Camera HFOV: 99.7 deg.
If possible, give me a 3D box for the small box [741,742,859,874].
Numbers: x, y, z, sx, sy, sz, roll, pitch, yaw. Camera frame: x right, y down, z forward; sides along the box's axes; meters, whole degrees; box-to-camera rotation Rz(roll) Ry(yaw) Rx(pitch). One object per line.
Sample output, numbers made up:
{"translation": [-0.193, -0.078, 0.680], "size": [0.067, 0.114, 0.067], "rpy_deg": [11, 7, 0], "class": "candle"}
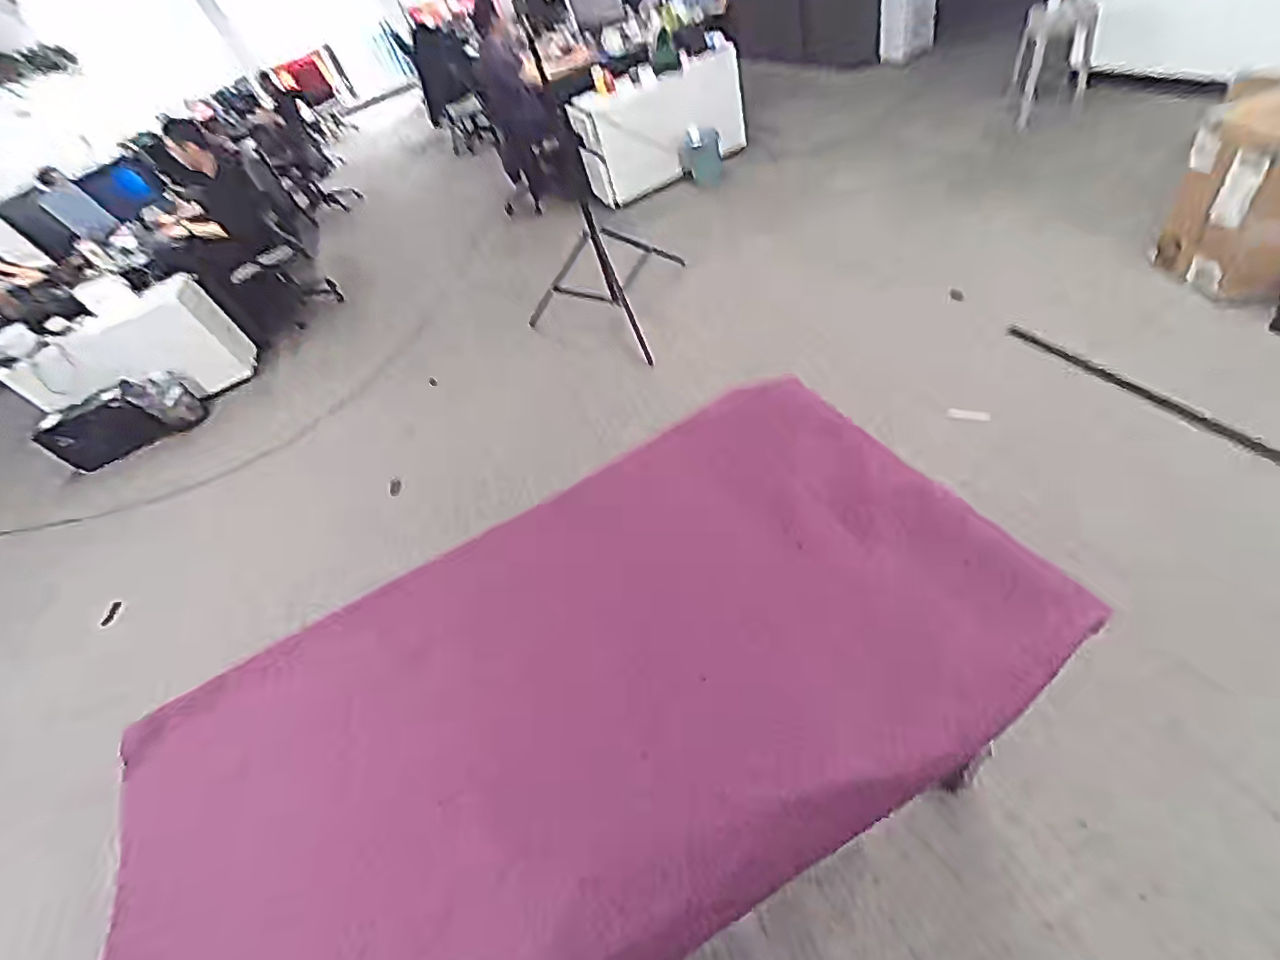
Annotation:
{"translation": [0.332, 0.683, 1.118], "size": [0.168, 0.176, 0.179], "rpy_deg": [-25, 45, -3], "class": "small box"}
